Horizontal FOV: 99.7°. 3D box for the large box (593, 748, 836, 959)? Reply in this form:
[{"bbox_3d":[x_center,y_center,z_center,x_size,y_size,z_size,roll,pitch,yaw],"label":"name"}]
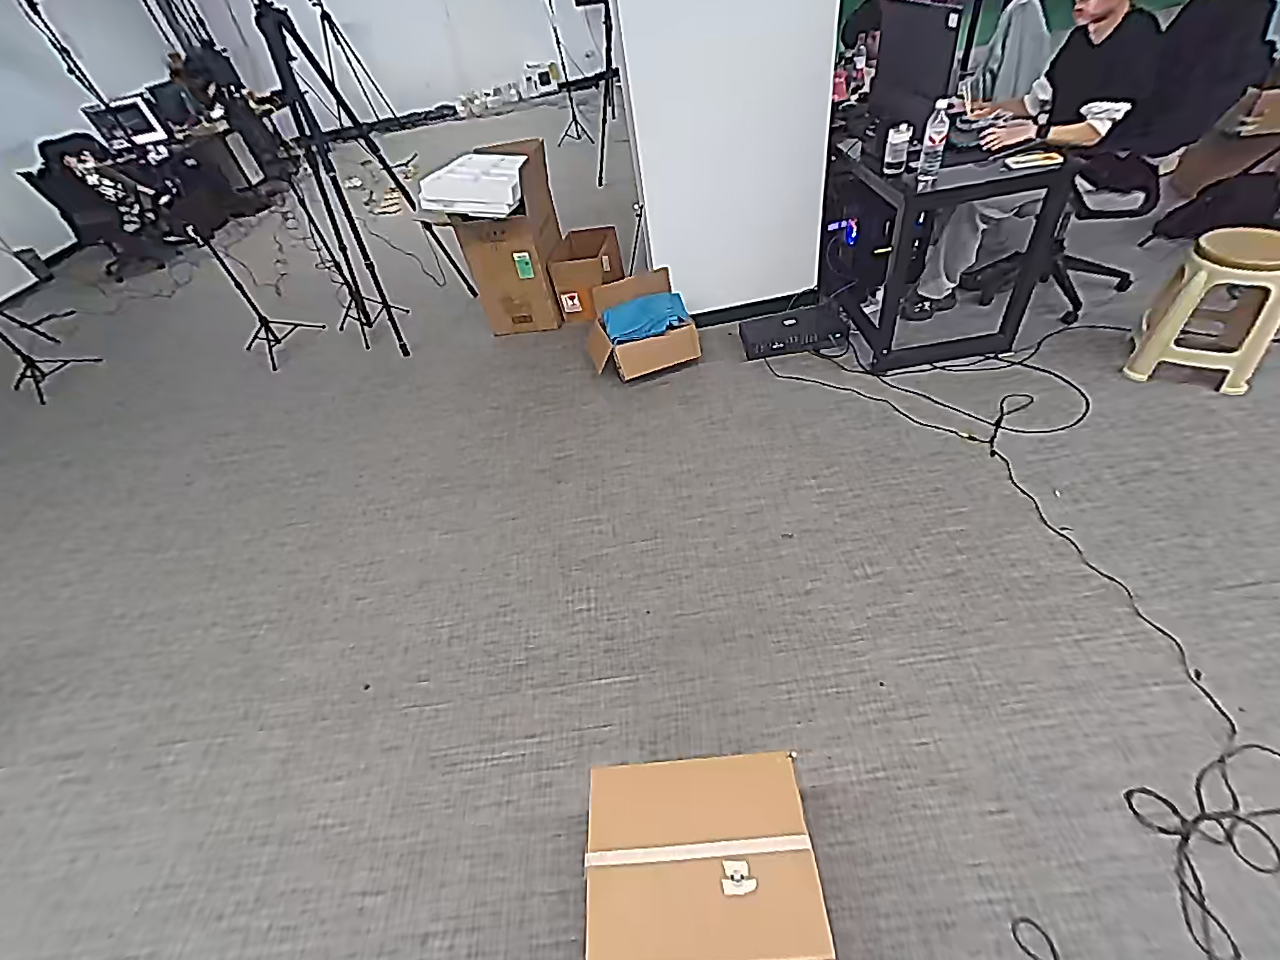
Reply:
[{"bbox_3d":[0.131,0.771,1.081,0.408,0.320,0.320,-7,44,4],"label":"large box"}]
